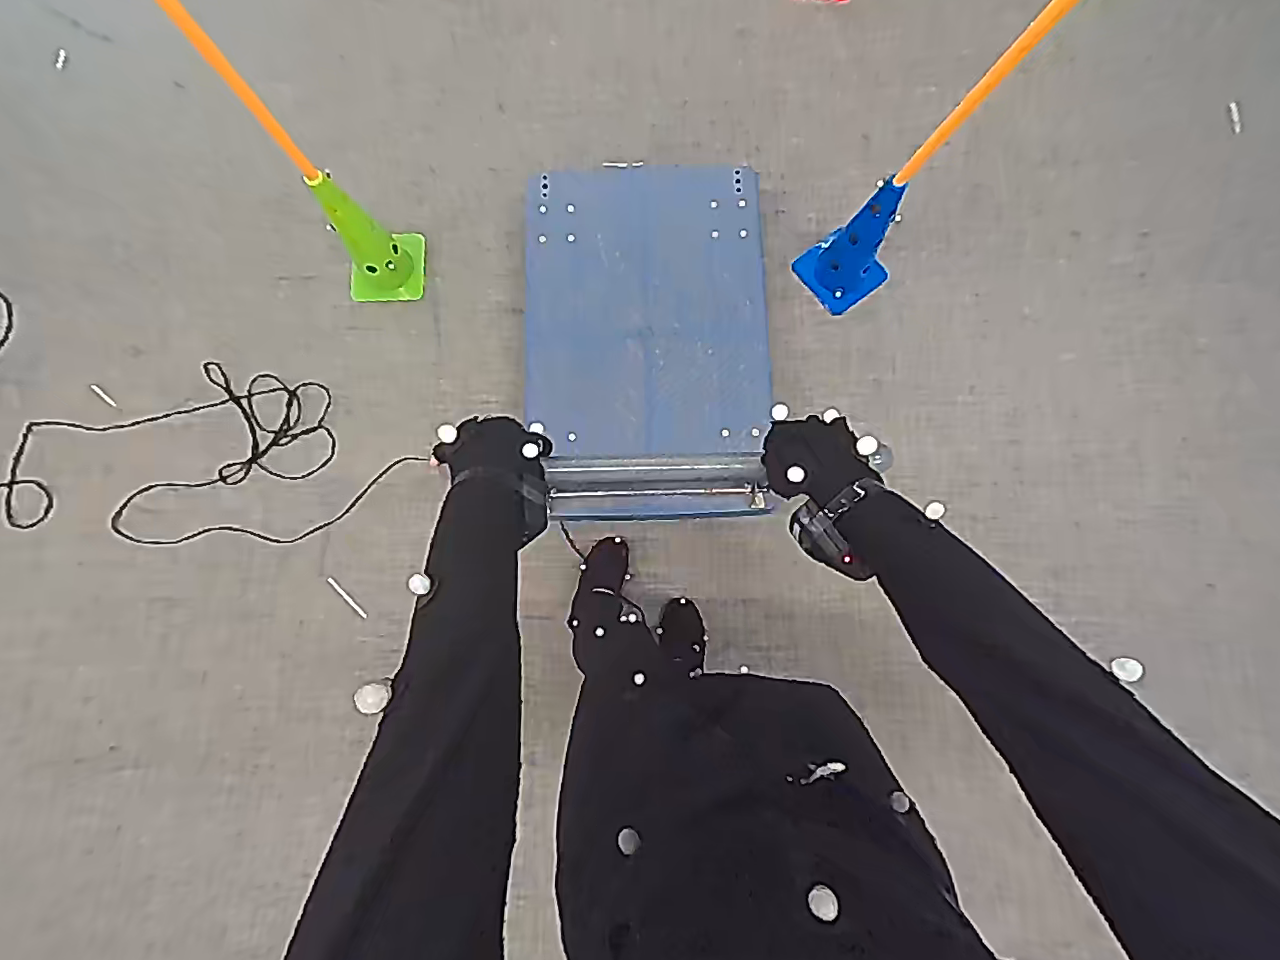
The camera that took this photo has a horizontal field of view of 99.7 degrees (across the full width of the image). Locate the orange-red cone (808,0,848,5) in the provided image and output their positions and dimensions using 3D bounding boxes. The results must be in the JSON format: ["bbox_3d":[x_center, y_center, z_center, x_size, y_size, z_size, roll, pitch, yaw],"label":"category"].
[{"bbox_3d":[0.550,-1.567,1.481,0.198,0.360,0.199,10,82,3],"label":"orange-red cone"}]
